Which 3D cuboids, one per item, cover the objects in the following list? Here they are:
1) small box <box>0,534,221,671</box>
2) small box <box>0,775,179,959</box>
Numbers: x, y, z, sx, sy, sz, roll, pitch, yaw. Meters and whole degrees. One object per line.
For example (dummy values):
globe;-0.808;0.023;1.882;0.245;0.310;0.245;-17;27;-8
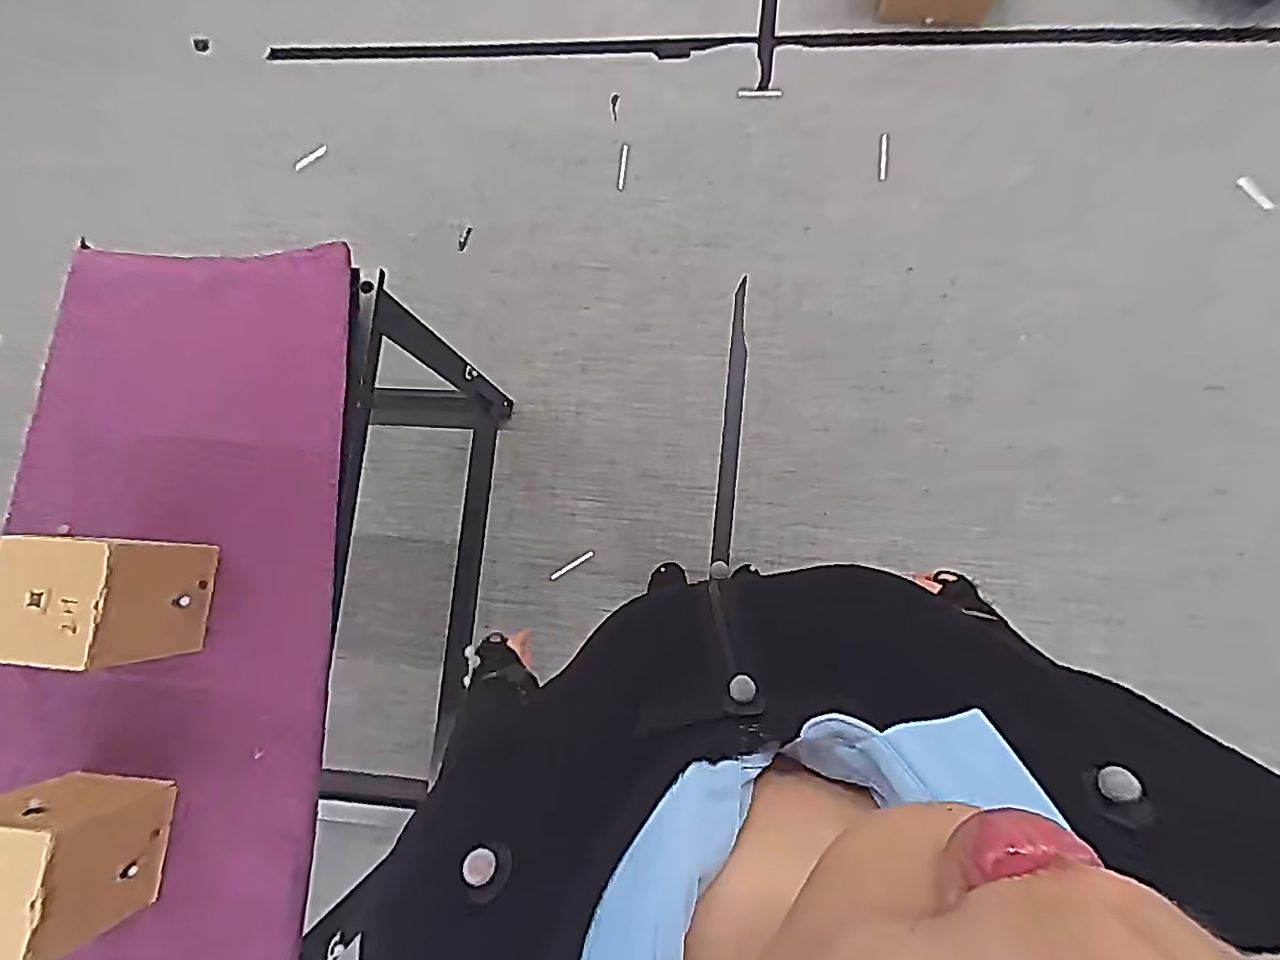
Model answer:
small box;-0.773;0.171;0.789;0.179;0.176;0.168;3;82;6
small box;-0.795;0.520;0.736;0.179;0.176;0.168;2;80;5
